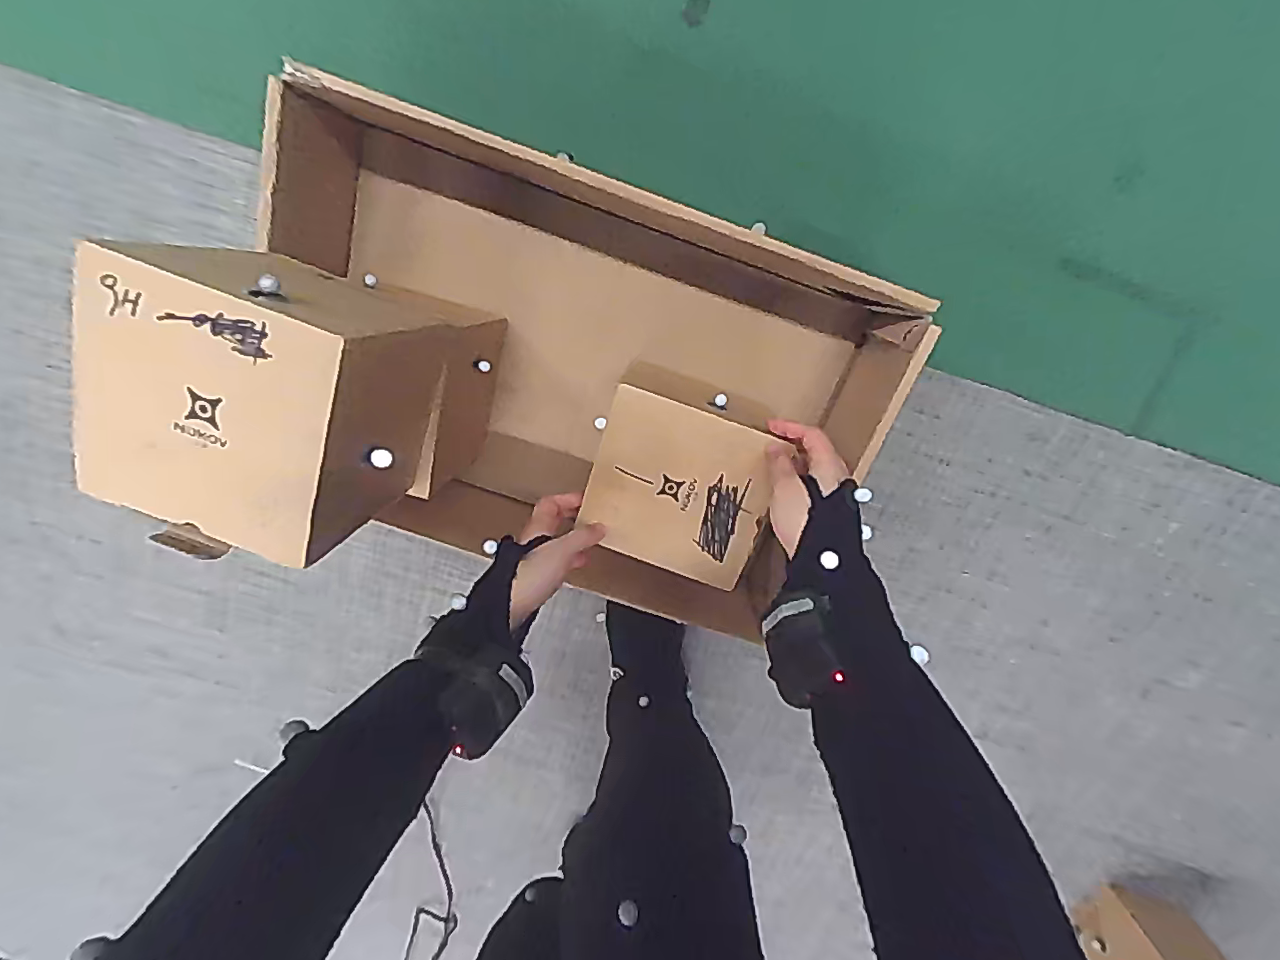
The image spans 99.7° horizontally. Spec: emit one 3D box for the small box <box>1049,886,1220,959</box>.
[{"bbox_3d":[0.861,0.835,0.912,0.179,0.176,0.168,23,109,-5],"label":"small box"}]

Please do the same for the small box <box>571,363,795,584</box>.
[{"bbox_3d":[0.042,-0.018,0.596,0.179,0.176,0.168,18,111,-4],"label":"small box"}]

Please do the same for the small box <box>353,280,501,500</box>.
[{"bbox_3d":[-0.260,-0.107,0.581,0.168,0.176,0.179,16,111,-2],"label":"small box"}]

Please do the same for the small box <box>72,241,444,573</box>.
[{"bbox_3d":[-0.276,-0.064,0.423,0.168,0.176,0.179,21,111,-4],"label":"small box"}]
